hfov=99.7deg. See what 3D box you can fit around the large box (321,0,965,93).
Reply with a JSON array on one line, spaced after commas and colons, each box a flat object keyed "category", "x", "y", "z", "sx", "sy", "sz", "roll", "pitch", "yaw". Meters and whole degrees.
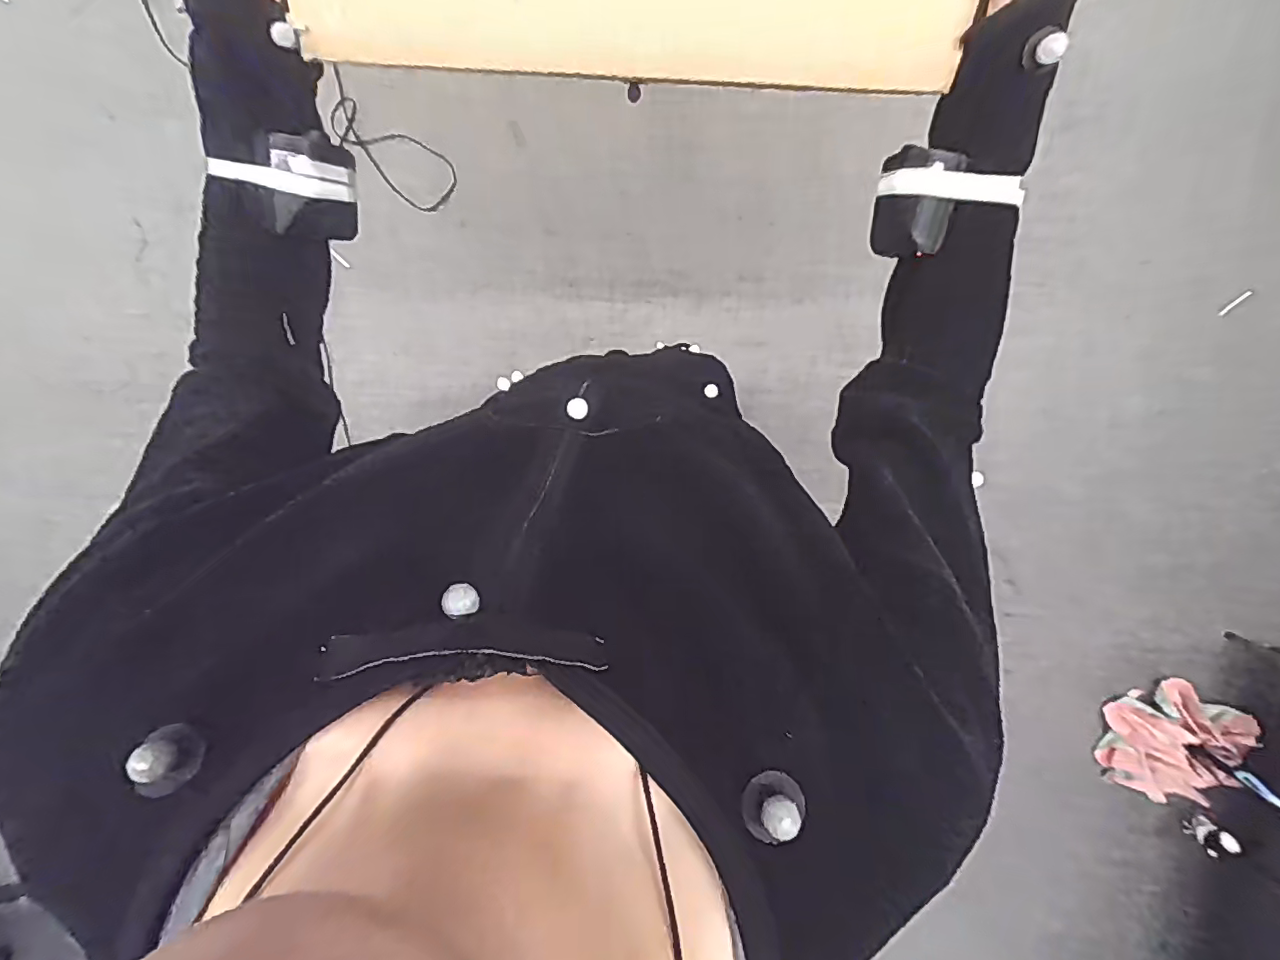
[{"category": "large box", "x": 0.008, "y": -0.475, "z": 0.383, "sx": 0.408, "sy": 0.320, "sz": 0.320, "roll": 2, "pitch": 126, "yaw": 0}]
